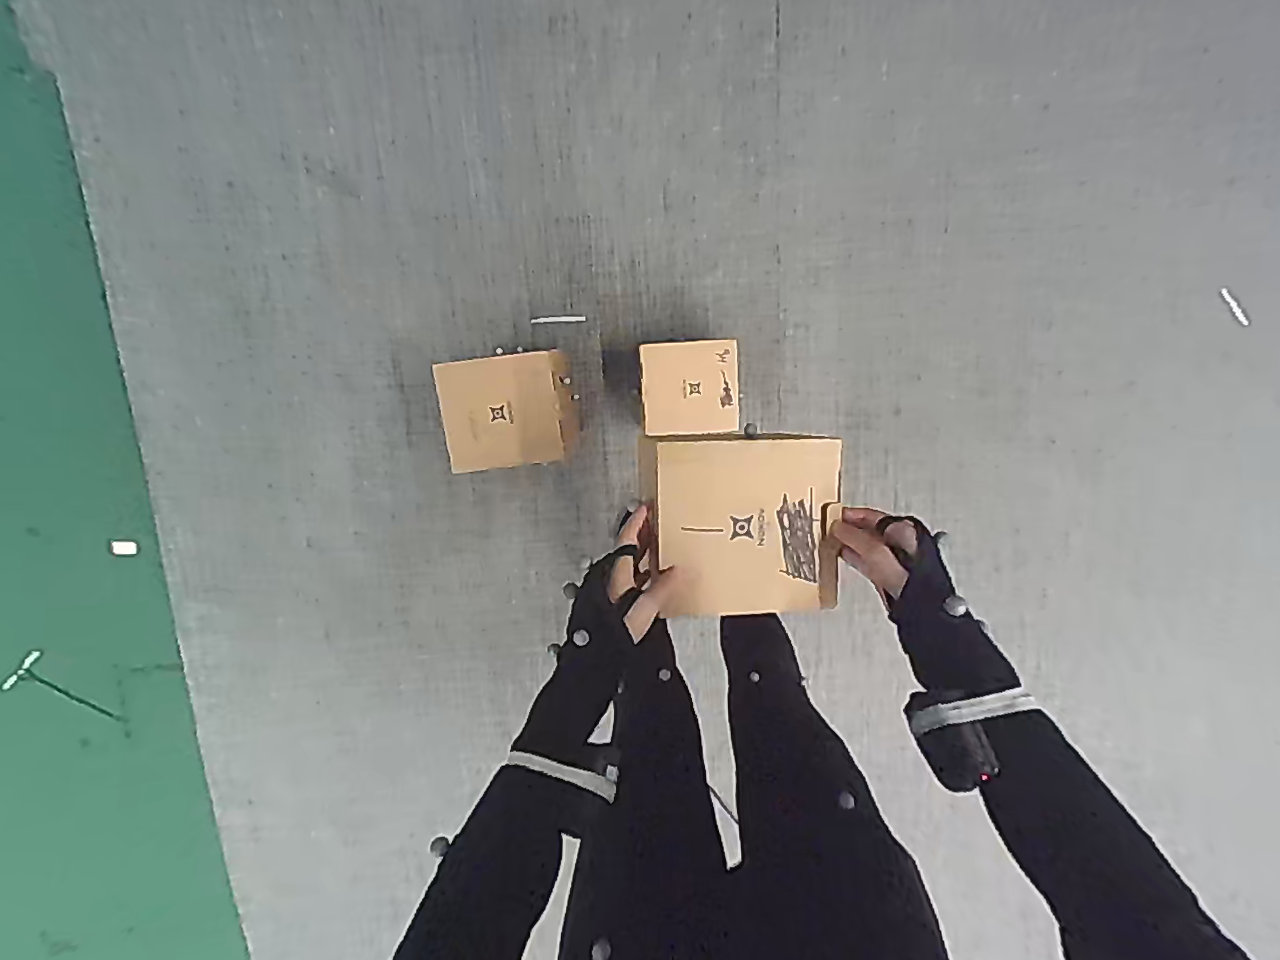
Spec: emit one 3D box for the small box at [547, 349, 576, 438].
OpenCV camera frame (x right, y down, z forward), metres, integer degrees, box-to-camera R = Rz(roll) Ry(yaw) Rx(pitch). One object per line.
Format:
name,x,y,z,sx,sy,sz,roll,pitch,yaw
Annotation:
small box,-0.222,-0.161,1.051,0.179,0.176,0.168,-7,101,1

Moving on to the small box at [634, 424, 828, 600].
small box,0.090,0.023,0.601,0.179,0.176,0.168,-3,97,-5

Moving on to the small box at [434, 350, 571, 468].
small box,-0.213,-0.121,0.893,0.179,0.176,0.168,-7,101,1
